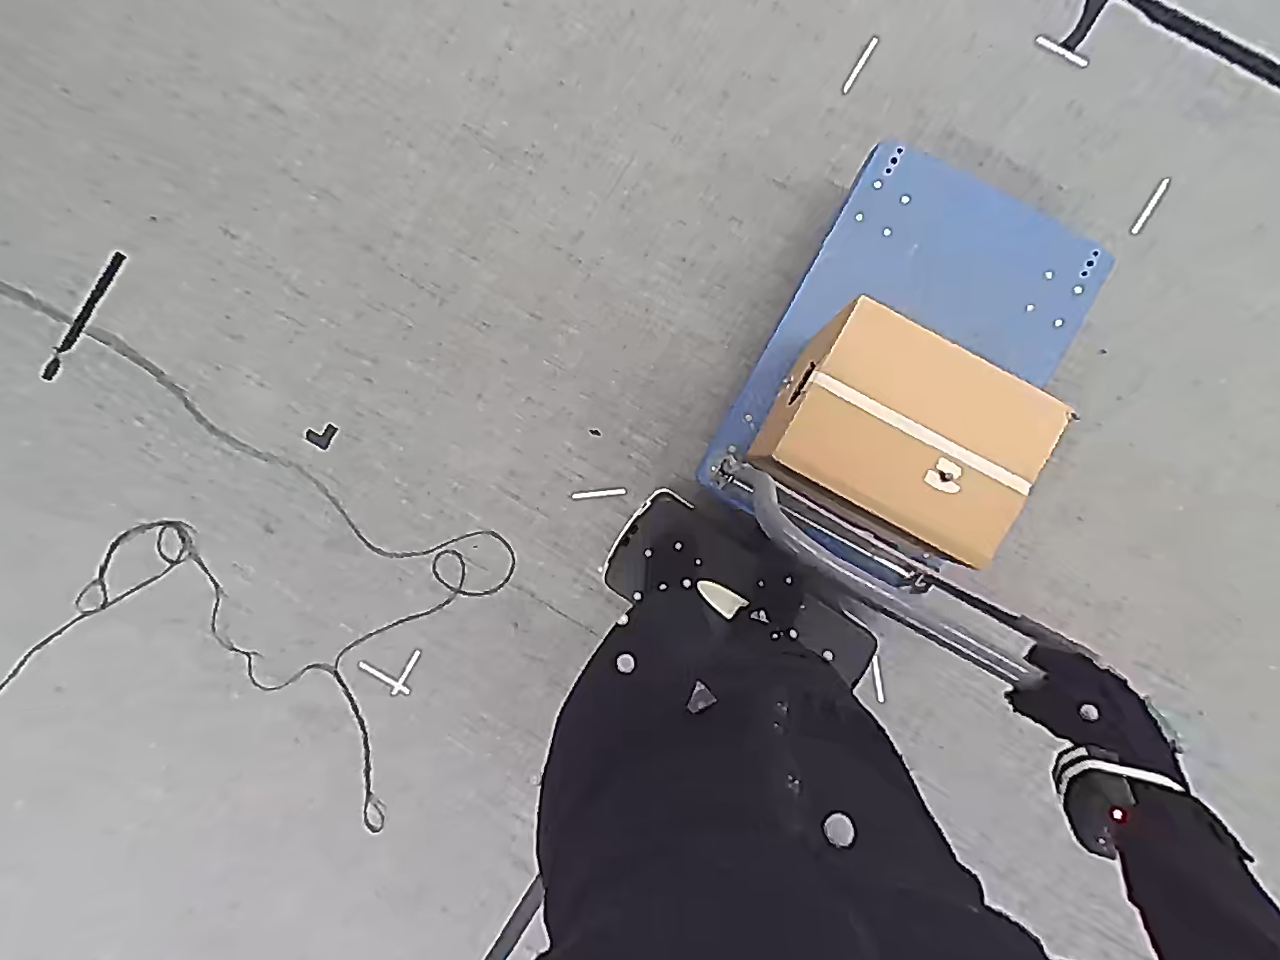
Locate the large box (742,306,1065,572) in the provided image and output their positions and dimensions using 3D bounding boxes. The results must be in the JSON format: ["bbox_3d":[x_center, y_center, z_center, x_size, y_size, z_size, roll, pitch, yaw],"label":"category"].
[{"bbox_3d":[0.463,-0.071,1.048,0.408,0.320,0.320,28,93,0],"label":"large box"}]
